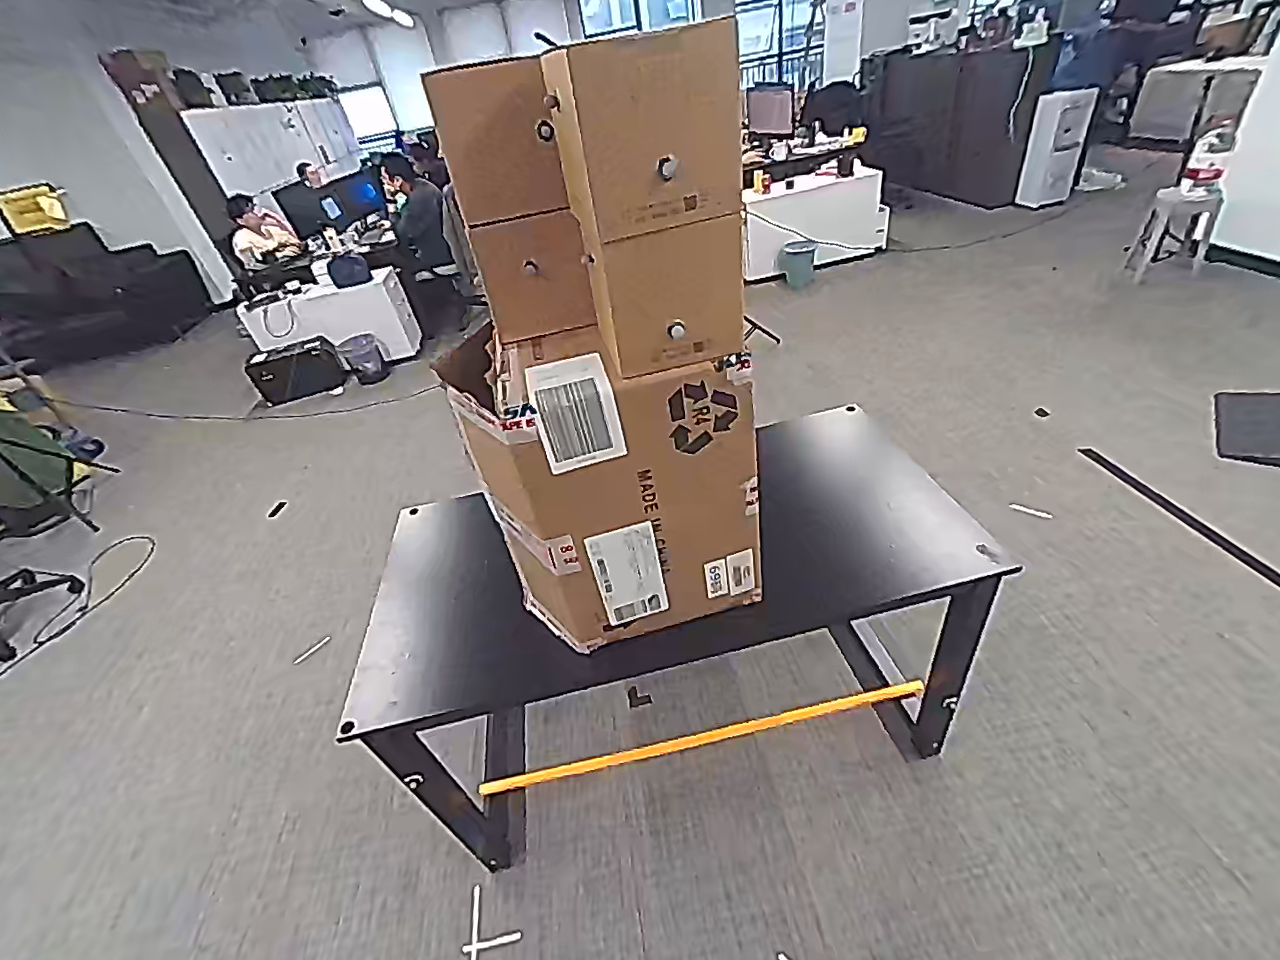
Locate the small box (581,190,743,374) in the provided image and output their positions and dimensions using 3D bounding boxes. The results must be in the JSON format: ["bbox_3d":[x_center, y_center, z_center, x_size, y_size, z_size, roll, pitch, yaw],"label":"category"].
[{"bbox_3d":[0.027,-0.259,0.703,0.168,0.176,0.179,-14,39,-5],"label":"small box"}]

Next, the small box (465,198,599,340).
[{"bbox_3d":[-0.156,-0.333,0.843,0.179,0.176,0.168,-15,36,-5],"label":"small box"}]

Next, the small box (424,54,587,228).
[{"bbox_3d":[-0.177,-0.463,0.745,0.179,0.176,0.168,-16,35,-8],"label":"small box"}]
